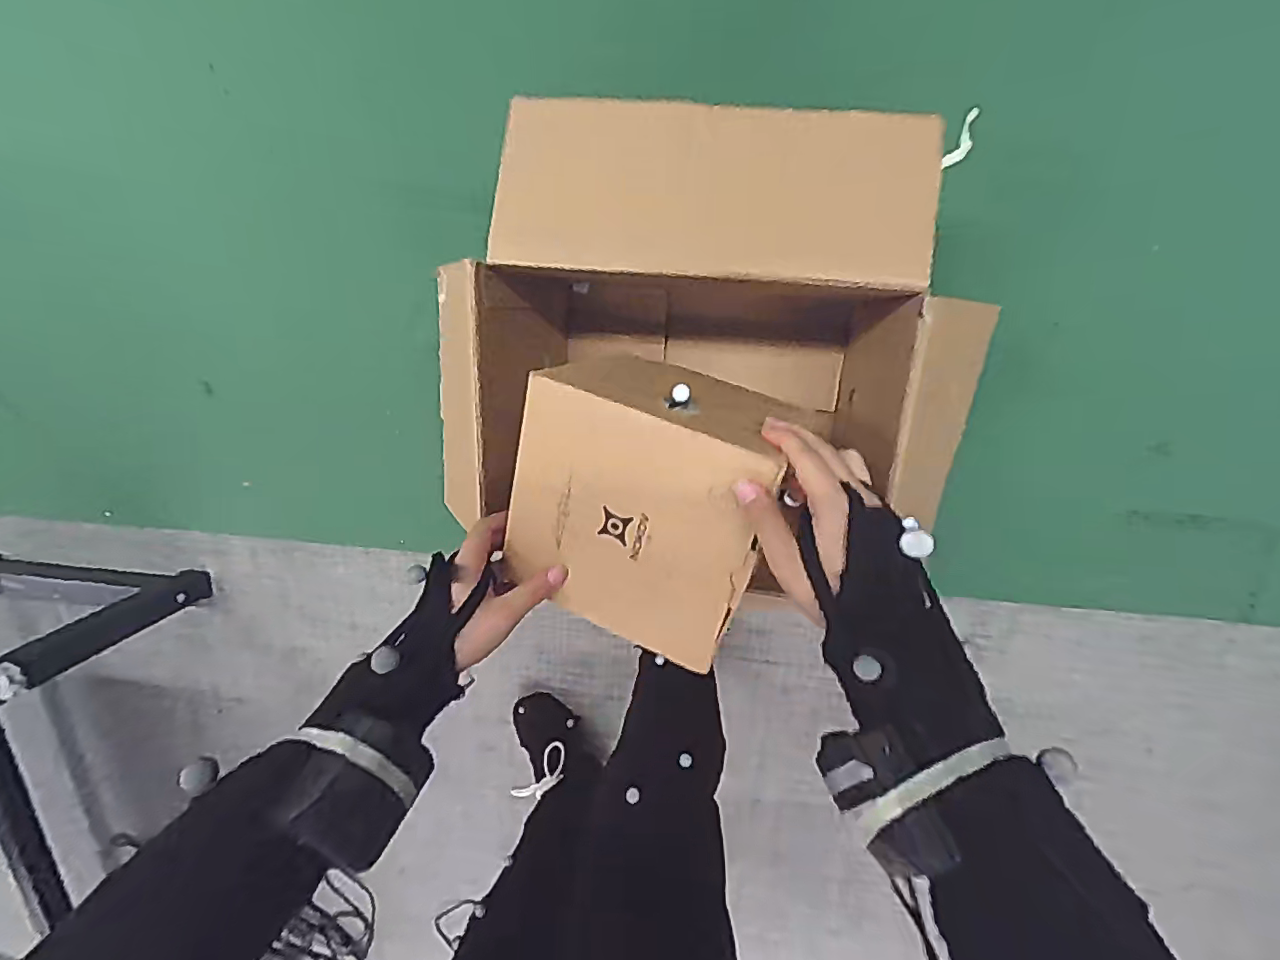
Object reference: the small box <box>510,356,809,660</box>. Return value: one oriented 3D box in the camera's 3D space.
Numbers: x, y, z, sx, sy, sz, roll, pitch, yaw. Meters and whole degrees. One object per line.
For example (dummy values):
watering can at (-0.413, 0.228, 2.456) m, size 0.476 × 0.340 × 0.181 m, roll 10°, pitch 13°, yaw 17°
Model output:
small box at (0.023, 0.003, 0.439) m, size 0.179 × 0.176 × 0.168 m, roll 21°, pitch 113°, yaw 16°
